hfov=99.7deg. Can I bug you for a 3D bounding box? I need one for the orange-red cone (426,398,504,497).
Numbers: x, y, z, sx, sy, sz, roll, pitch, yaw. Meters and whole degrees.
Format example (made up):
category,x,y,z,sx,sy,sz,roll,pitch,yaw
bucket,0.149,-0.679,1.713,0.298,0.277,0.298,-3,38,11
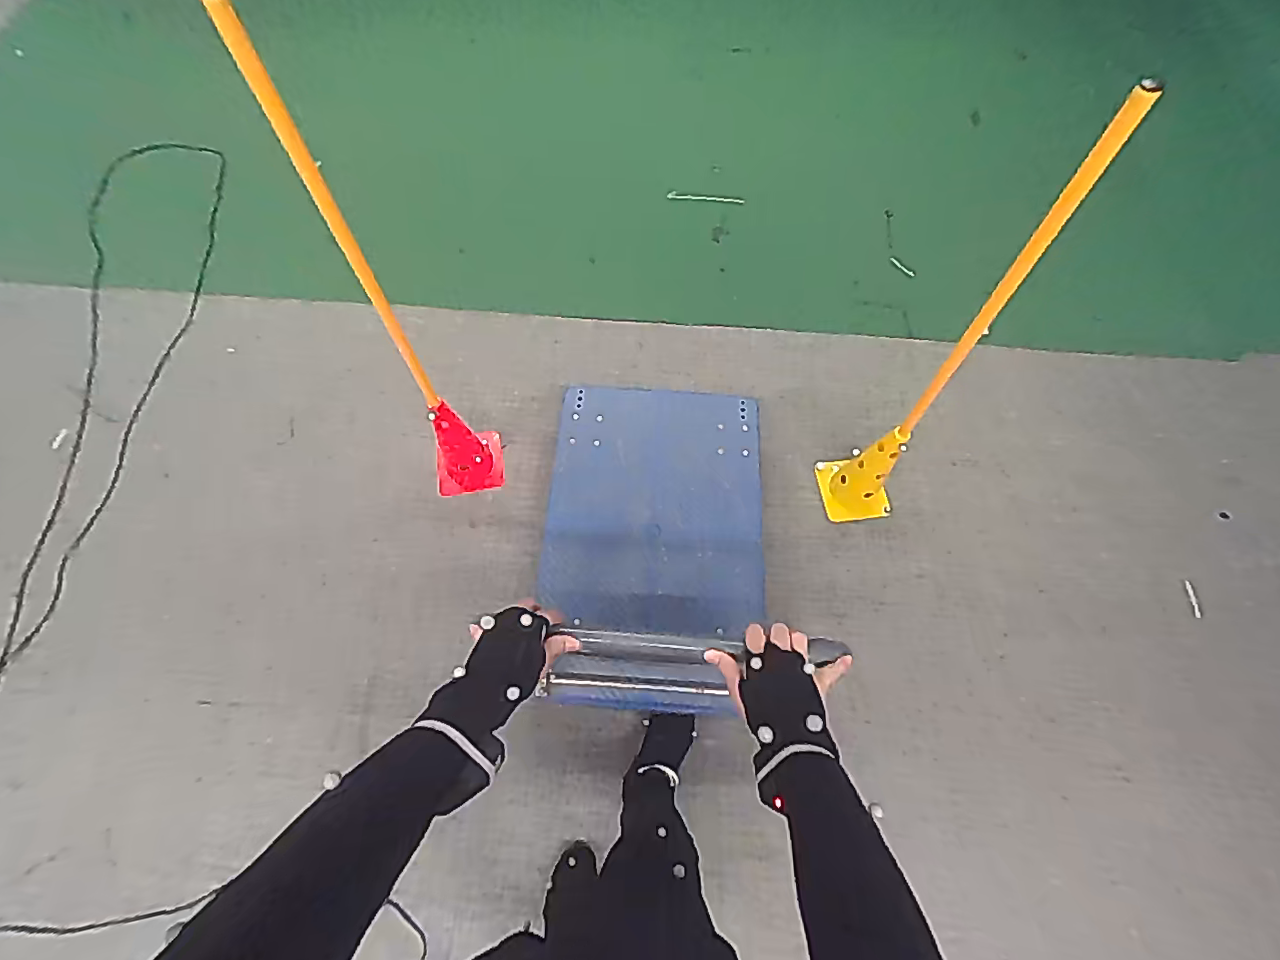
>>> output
category,x,y,z,sx,sy,sz,roll,pitch,yaw
orange-red cone,-0.525,-0.117,1.522,0.199,0.360,0.198,-10,66,-4
